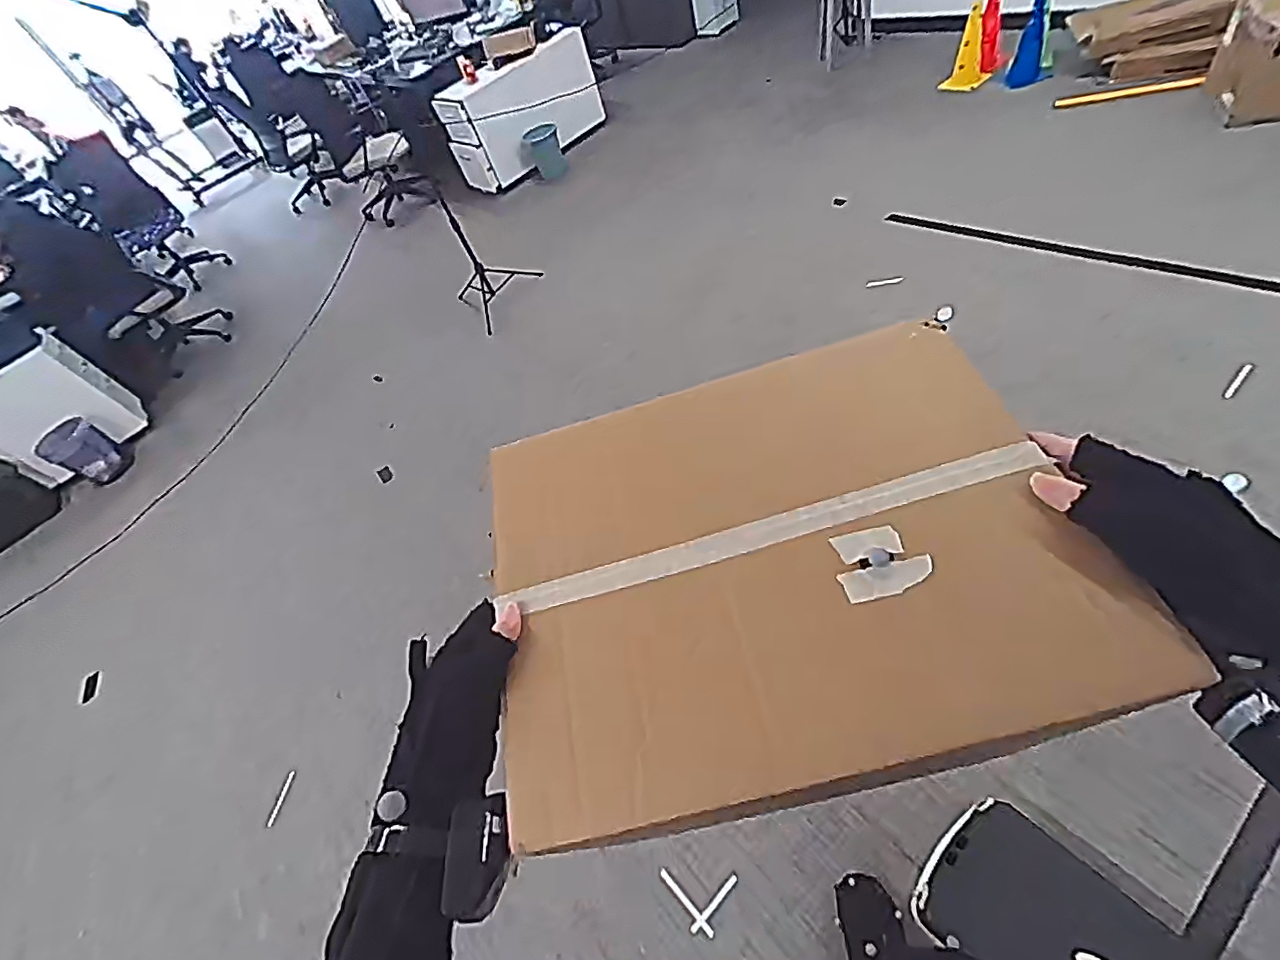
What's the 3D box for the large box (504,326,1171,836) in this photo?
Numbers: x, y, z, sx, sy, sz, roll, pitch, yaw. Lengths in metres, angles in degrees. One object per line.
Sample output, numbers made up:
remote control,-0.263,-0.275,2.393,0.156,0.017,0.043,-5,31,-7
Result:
large box,0.122,0.120,0.530,0.408,0.320,0.320,-17,56,4
